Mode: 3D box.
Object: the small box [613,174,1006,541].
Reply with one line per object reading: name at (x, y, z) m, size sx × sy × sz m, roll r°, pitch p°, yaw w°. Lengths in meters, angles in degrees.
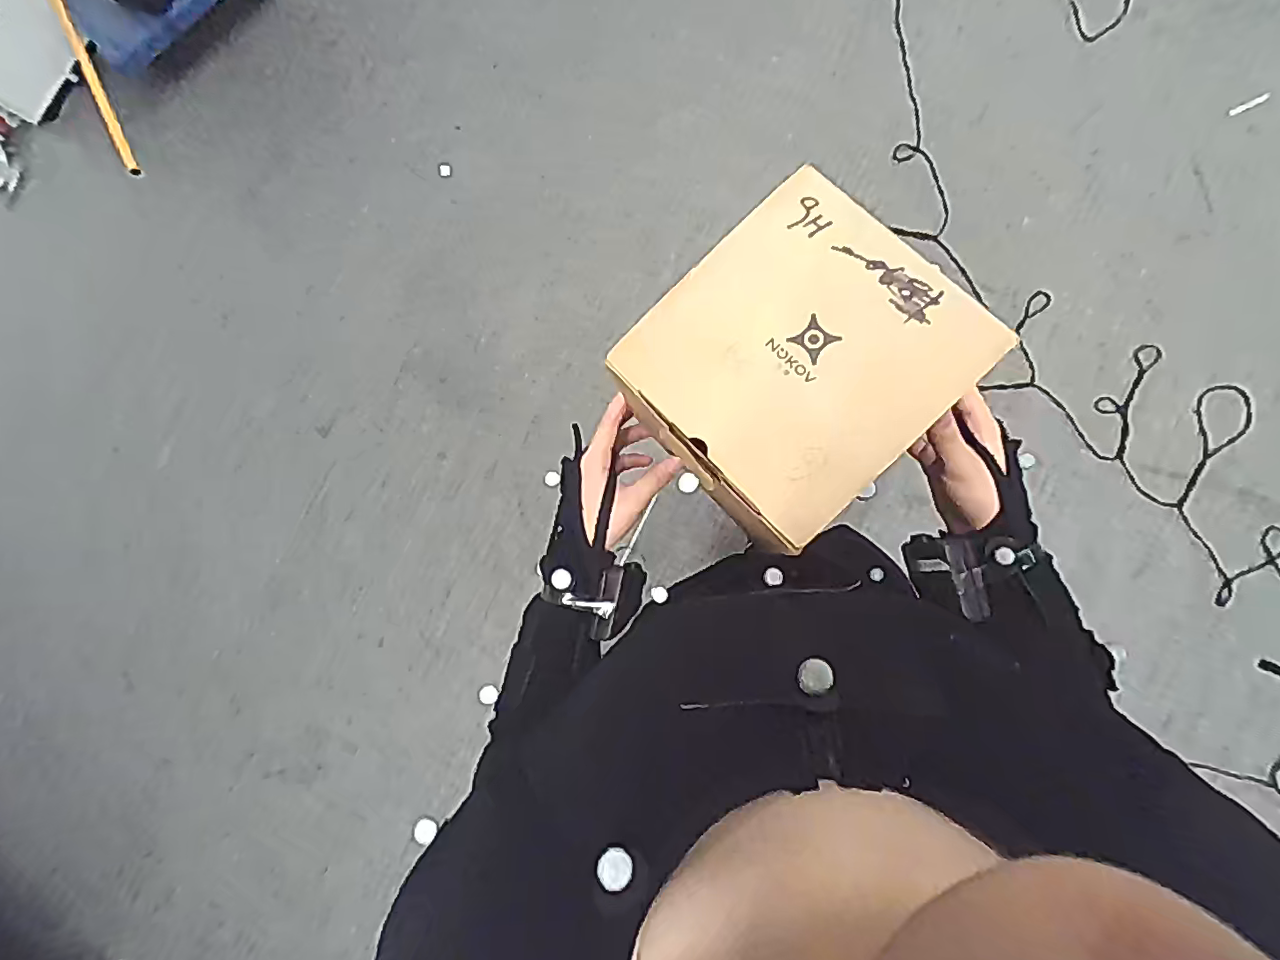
small box at (0.110, -0.068, 0.406) m, size 0.179 × 0.176 × 0.168 m, roll -44°, pitch 79°, yaw 1°
